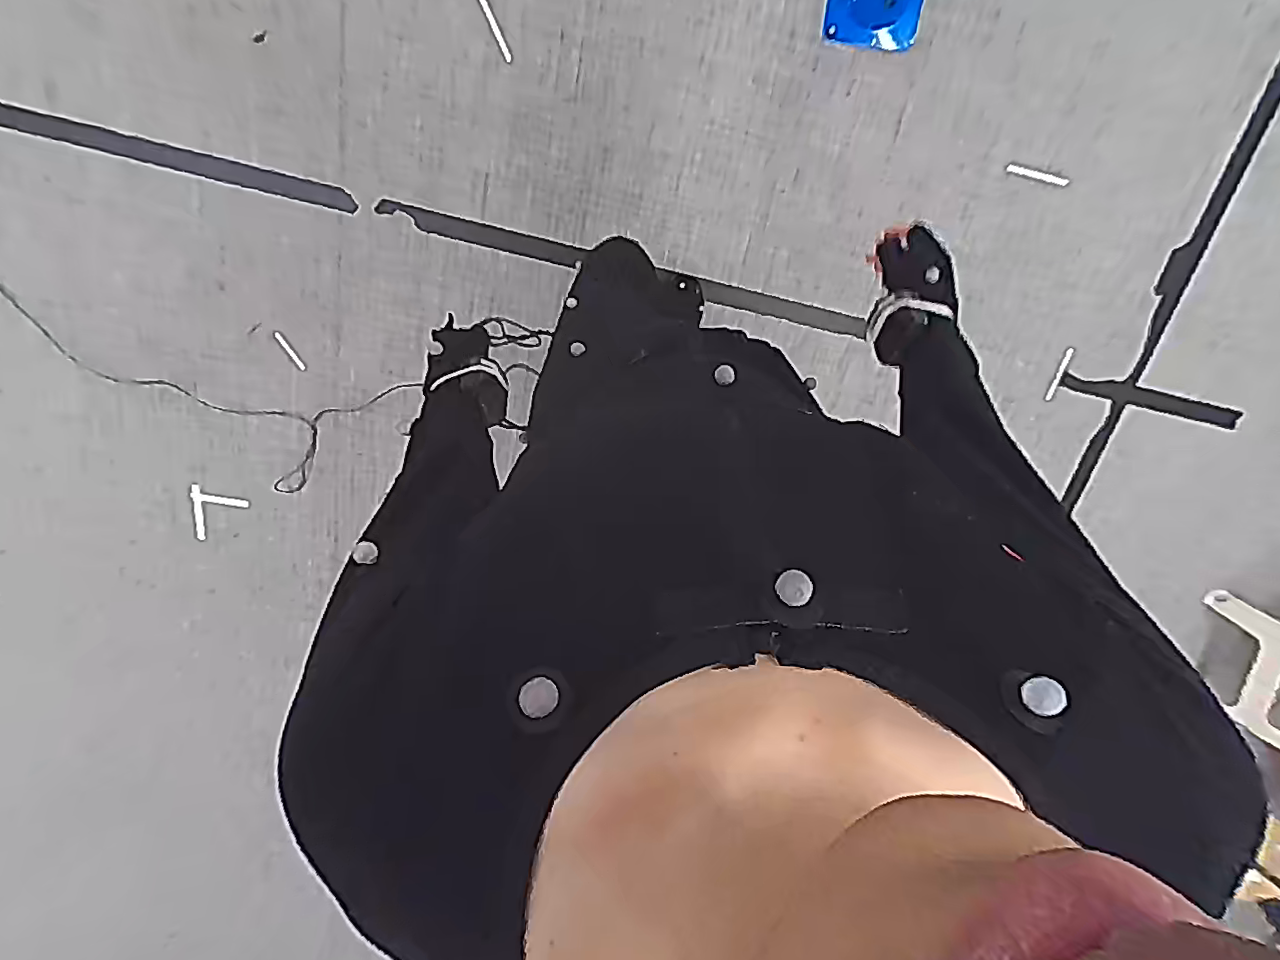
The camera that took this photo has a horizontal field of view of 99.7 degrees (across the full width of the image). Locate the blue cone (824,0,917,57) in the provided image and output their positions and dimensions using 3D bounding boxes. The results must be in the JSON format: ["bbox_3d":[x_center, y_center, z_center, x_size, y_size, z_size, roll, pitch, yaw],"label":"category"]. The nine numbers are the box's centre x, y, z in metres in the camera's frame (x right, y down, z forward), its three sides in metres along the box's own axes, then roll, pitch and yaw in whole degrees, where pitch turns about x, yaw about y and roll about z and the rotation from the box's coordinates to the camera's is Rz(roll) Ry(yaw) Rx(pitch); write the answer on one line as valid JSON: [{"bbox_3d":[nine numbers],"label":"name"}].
[{"bbox_3d":[0.494,-0.954,0.979,0.193,0.380,0.192,7,110,-3],"label":"blue cone"}]
